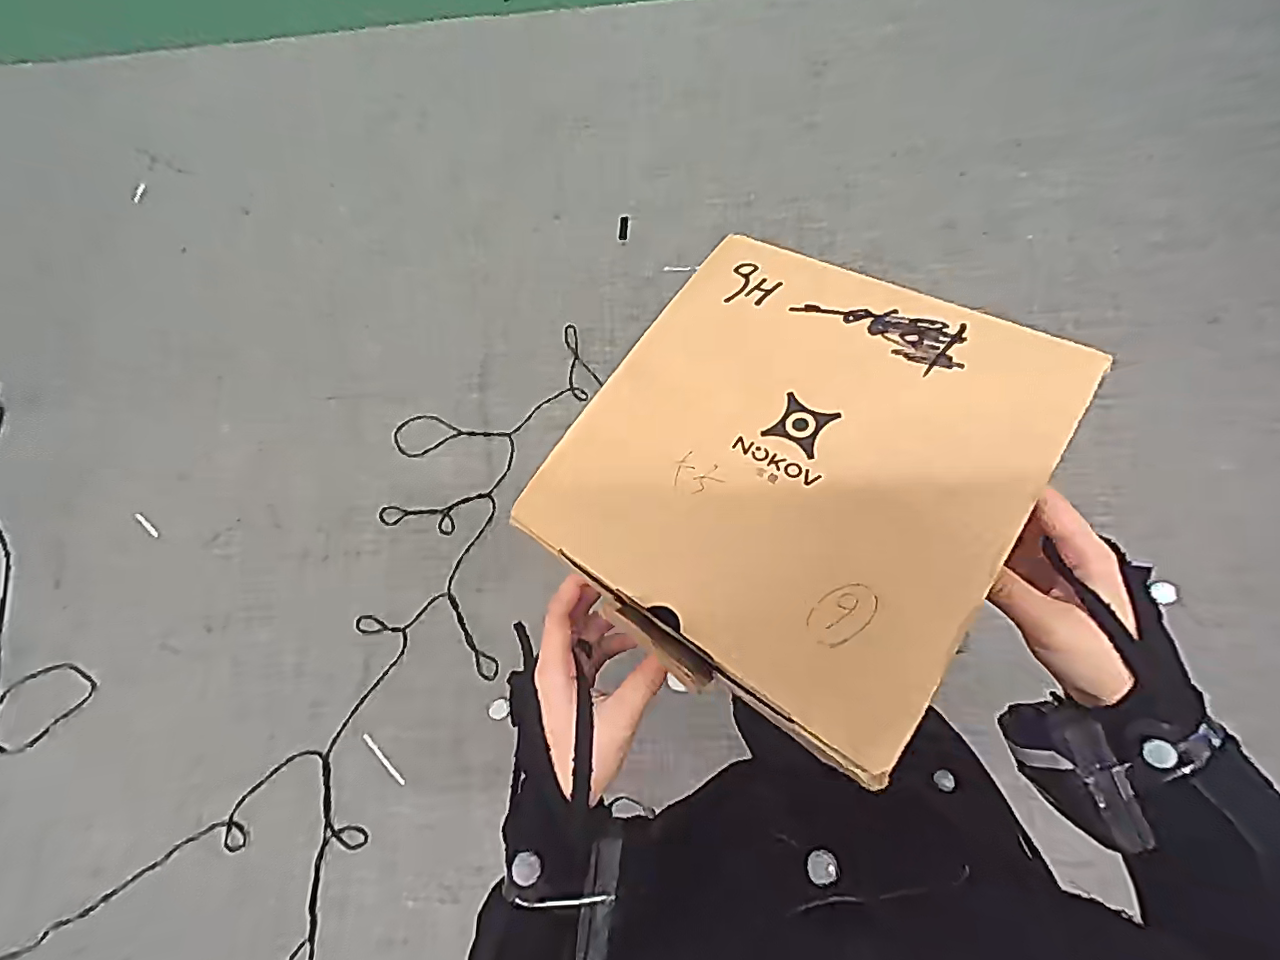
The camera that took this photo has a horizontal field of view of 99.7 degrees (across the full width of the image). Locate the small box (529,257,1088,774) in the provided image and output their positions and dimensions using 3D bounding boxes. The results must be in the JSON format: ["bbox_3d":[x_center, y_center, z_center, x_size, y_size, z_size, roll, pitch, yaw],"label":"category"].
[{"bbox_3d":[0.080,0.024,0.294,0.168,0.176,0.179,31,76,25],"label":"small box"}]
